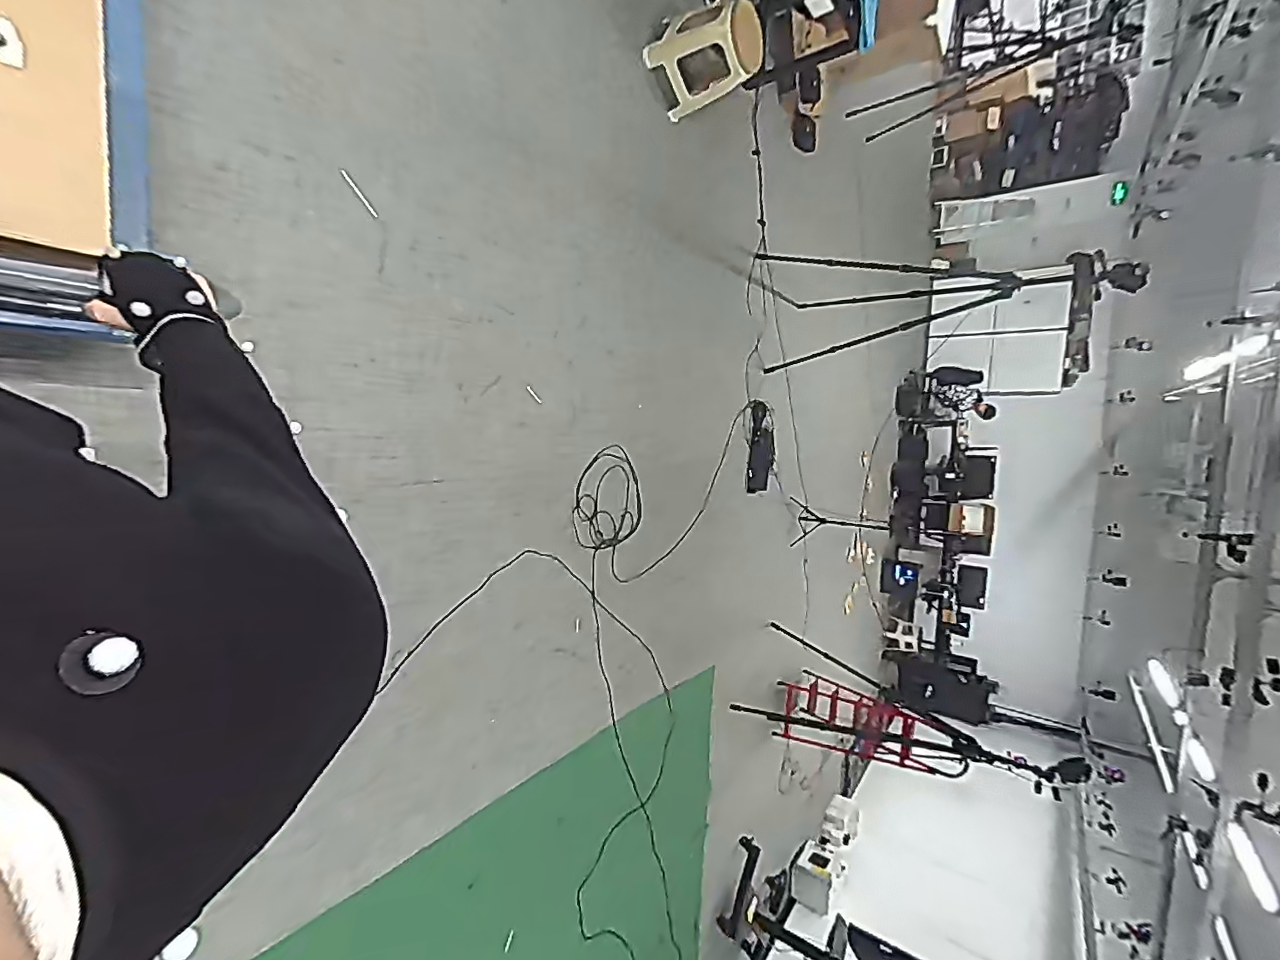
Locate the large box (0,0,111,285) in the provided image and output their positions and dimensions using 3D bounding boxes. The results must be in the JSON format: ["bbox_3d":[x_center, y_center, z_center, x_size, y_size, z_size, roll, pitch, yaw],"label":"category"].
[{"bbox_3d":[-1.052,-0.548,0.811,0.320,0.320,0.408,-5,97,-53],"label":"large box"}]
